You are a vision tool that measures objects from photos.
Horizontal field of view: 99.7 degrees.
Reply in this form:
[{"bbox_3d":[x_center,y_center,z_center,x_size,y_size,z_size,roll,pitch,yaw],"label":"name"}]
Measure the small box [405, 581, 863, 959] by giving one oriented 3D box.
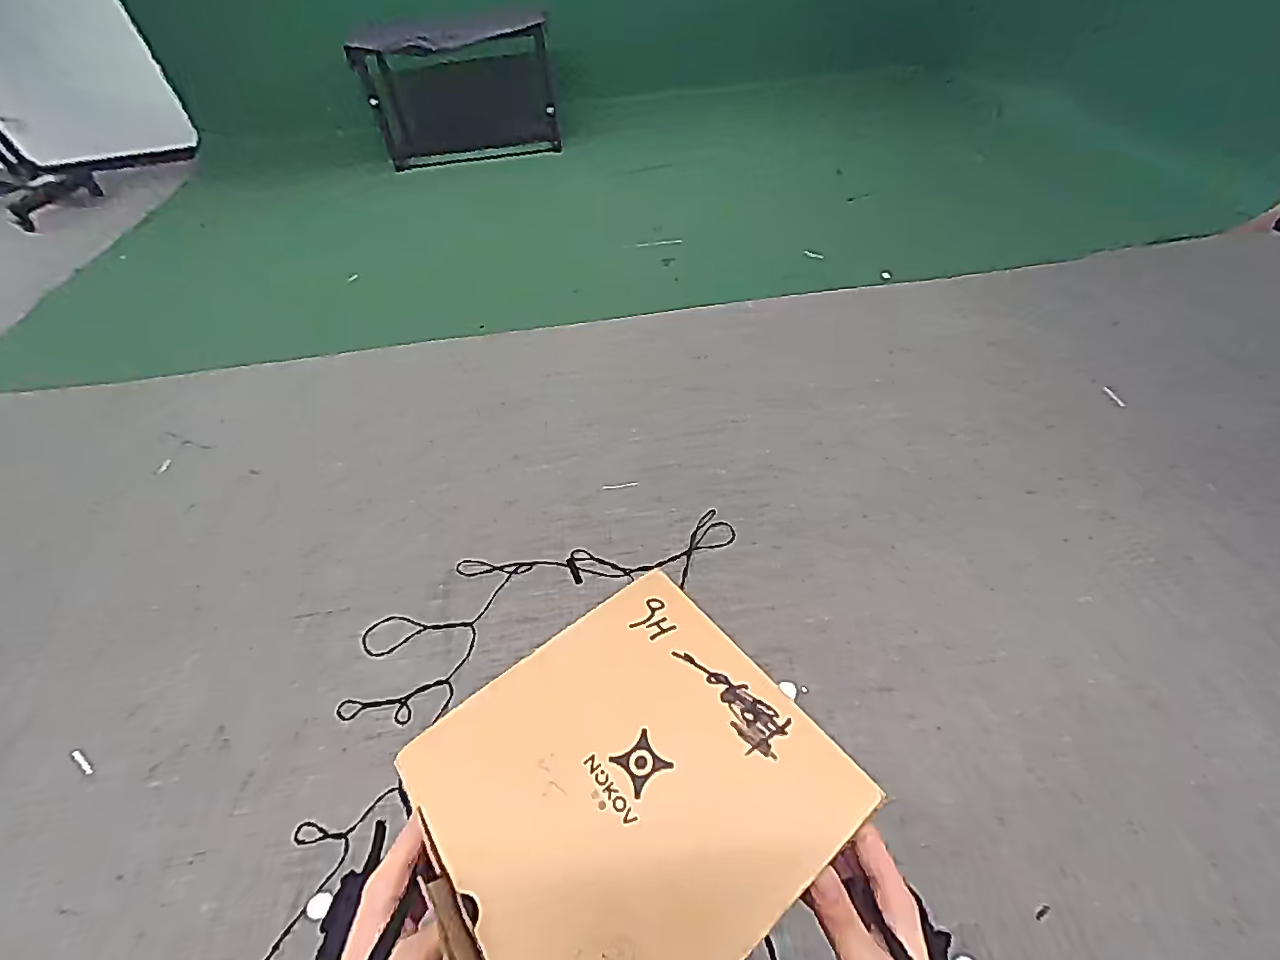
[{"bbox_3d":[-0.001,0.204,0.326,0.179,0.176,0.168,-33,52,-22],"label":"small box"}]
